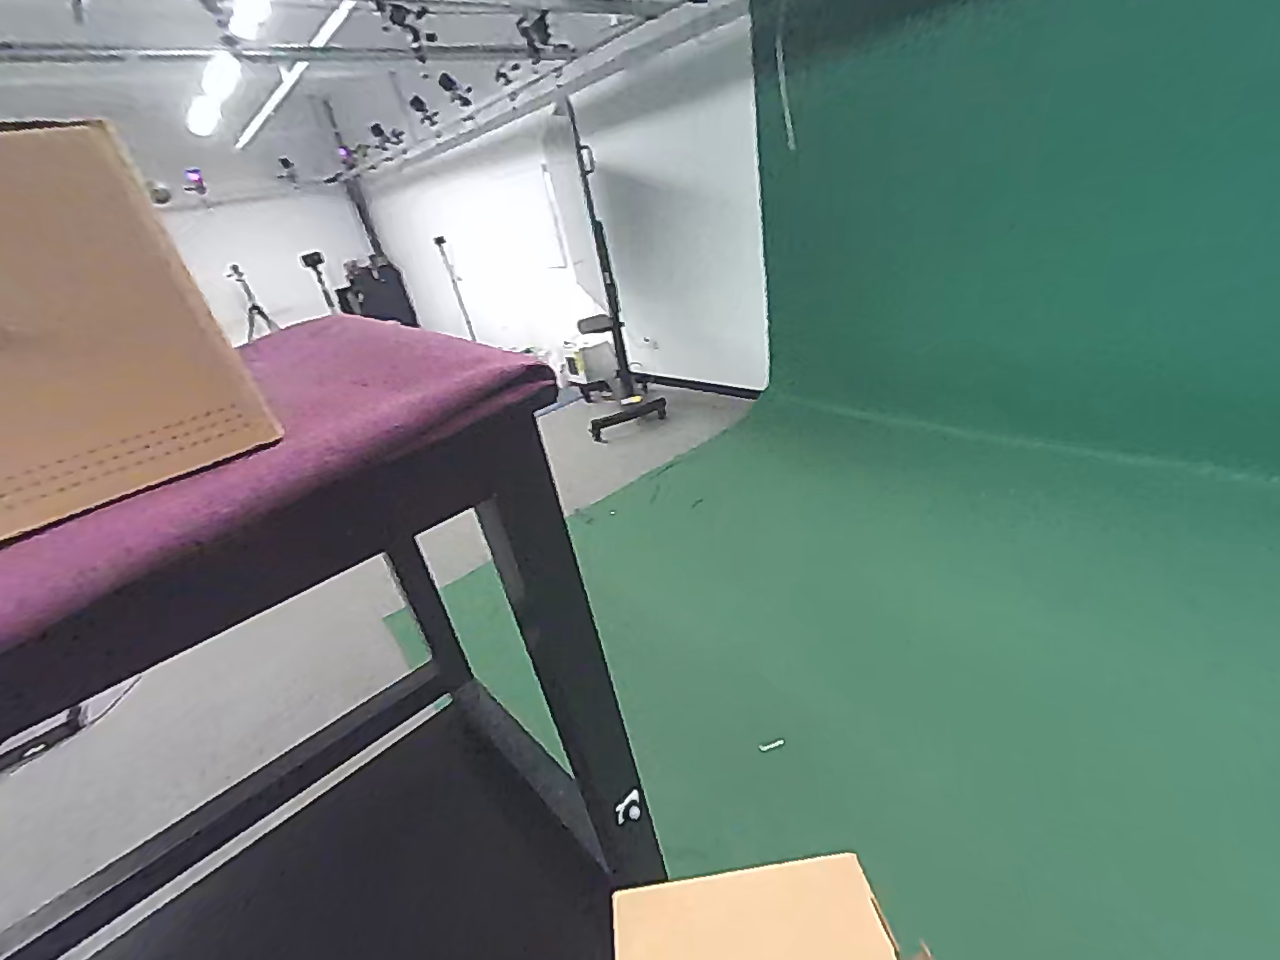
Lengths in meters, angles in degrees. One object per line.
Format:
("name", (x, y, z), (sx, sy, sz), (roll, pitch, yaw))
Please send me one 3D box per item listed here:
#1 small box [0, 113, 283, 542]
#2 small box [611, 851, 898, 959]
("small box", (-0.344, -0.075, 0.303), (0.179, 0.176, 0.168), (-31, 31, -31))
("small box", (0.081, 0.381, 0.340), (0.179, 0.176, 0.168), (-8, 23, -2))
